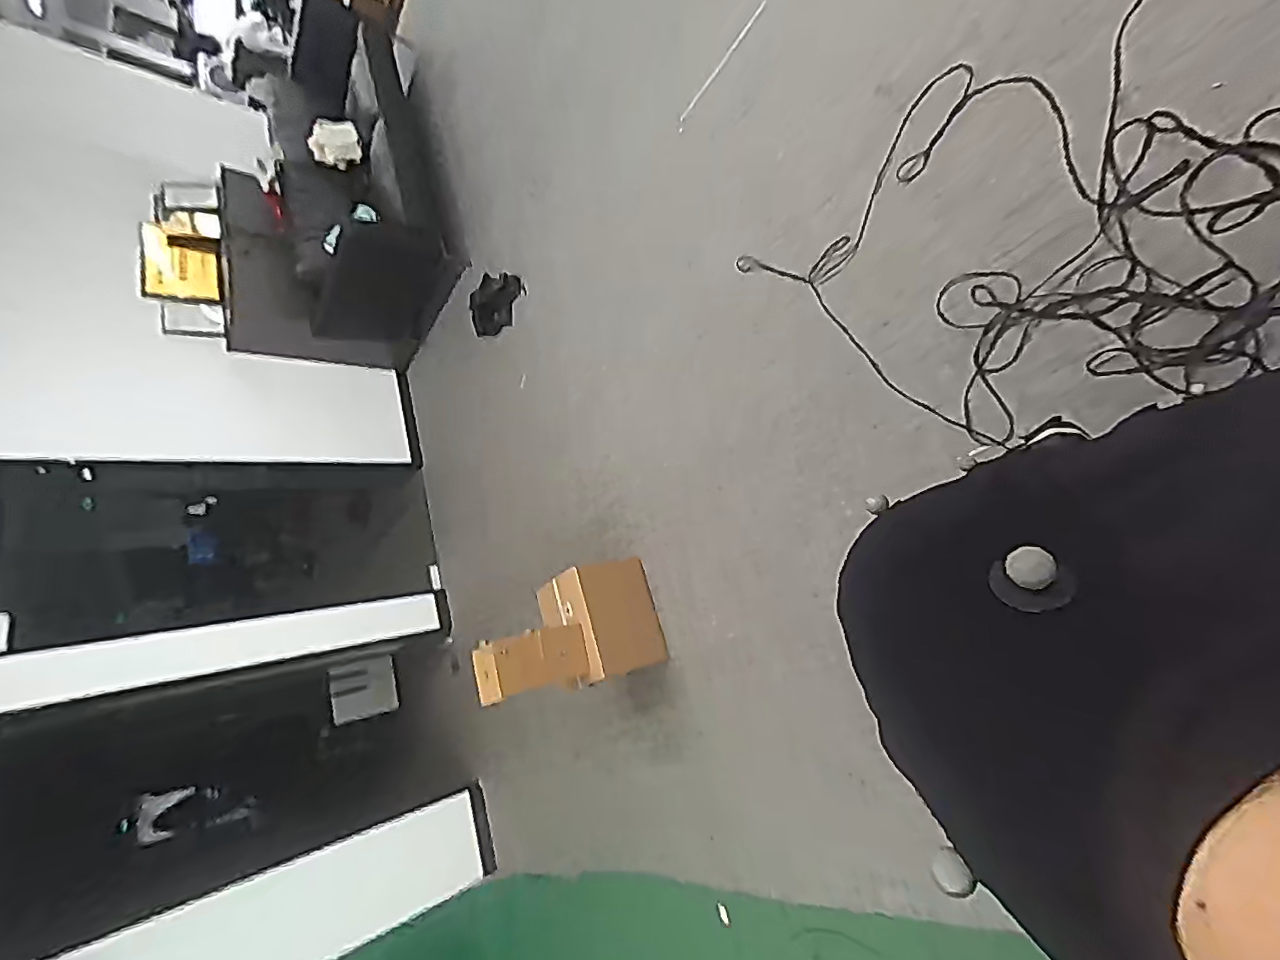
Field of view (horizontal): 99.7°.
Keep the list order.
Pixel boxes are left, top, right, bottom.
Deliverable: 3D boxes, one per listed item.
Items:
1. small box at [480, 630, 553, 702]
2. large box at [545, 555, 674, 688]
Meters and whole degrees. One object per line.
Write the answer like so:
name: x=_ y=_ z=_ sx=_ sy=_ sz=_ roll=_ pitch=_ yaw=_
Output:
small box: x=-0.406 y=0.612 z=1.788 sx=0.168 sy=0.176 sz=0.179 roll=-36 pitch=64 yaw=44
large box: x=-0.122 y=0.538 z=2.081 sx=0.320 sy=0.320 sz=0.408 roll=-37 pitch=63 yaw=42
